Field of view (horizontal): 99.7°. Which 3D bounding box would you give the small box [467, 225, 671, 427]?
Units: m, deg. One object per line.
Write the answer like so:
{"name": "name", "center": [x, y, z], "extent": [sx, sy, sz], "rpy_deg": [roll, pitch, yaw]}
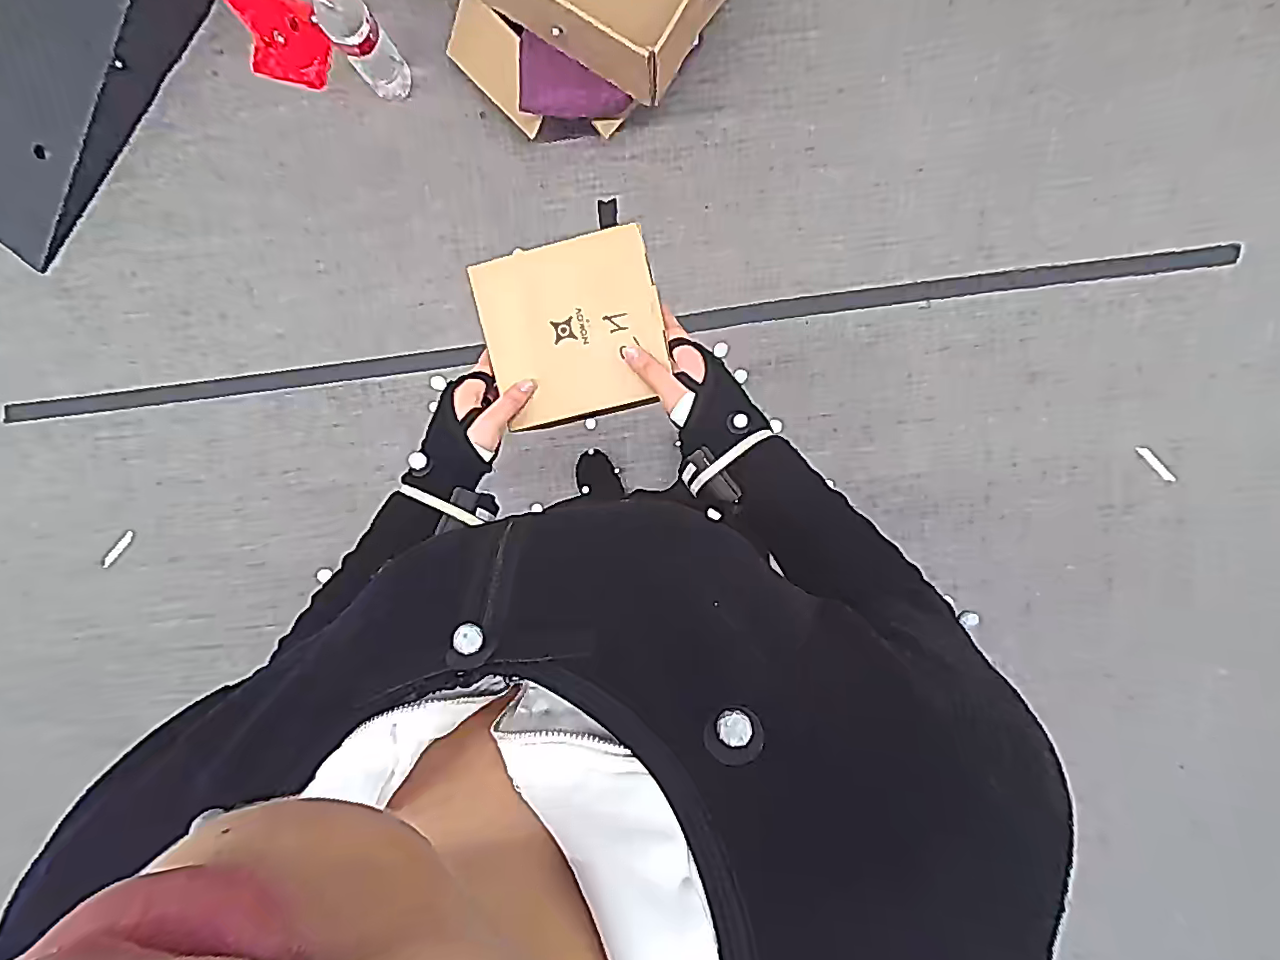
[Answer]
{"name": "small box", "center": [-0.064, -0.156, 0.607], "extent": [0.179, 0.176, 0.168], "rpy_deg": [-12, 96, 4]}
